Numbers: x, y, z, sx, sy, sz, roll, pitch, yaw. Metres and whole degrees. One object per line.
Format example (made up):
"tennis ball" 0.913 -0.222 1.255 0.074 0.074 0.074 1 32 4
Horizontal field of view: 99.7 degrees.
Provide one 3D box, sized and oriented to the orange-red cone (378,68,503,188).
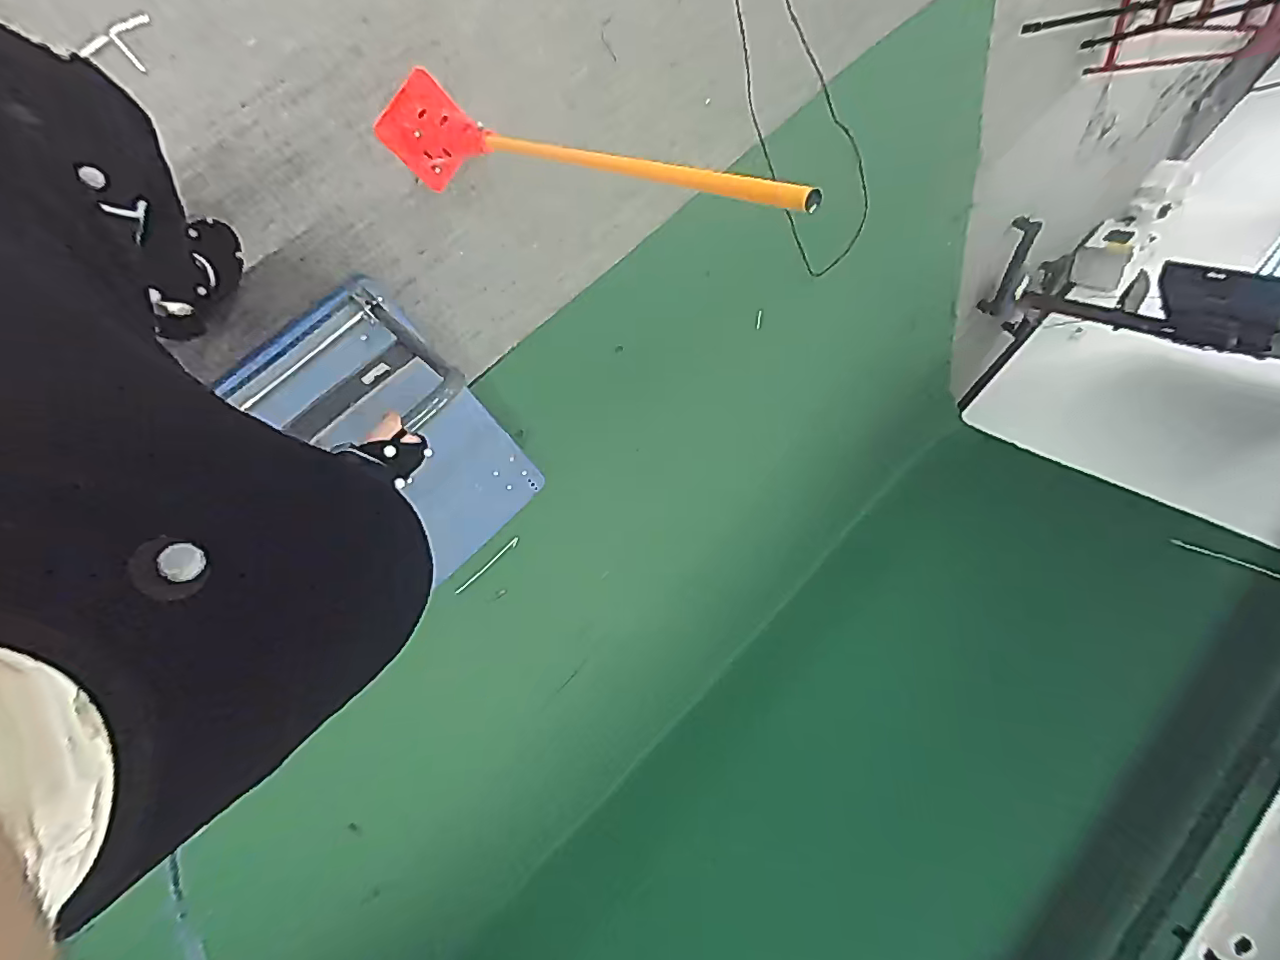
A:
"orange-red cone" -0.413 -0.793 1.239 0.199 0.360 0.198 -54 141 -1
